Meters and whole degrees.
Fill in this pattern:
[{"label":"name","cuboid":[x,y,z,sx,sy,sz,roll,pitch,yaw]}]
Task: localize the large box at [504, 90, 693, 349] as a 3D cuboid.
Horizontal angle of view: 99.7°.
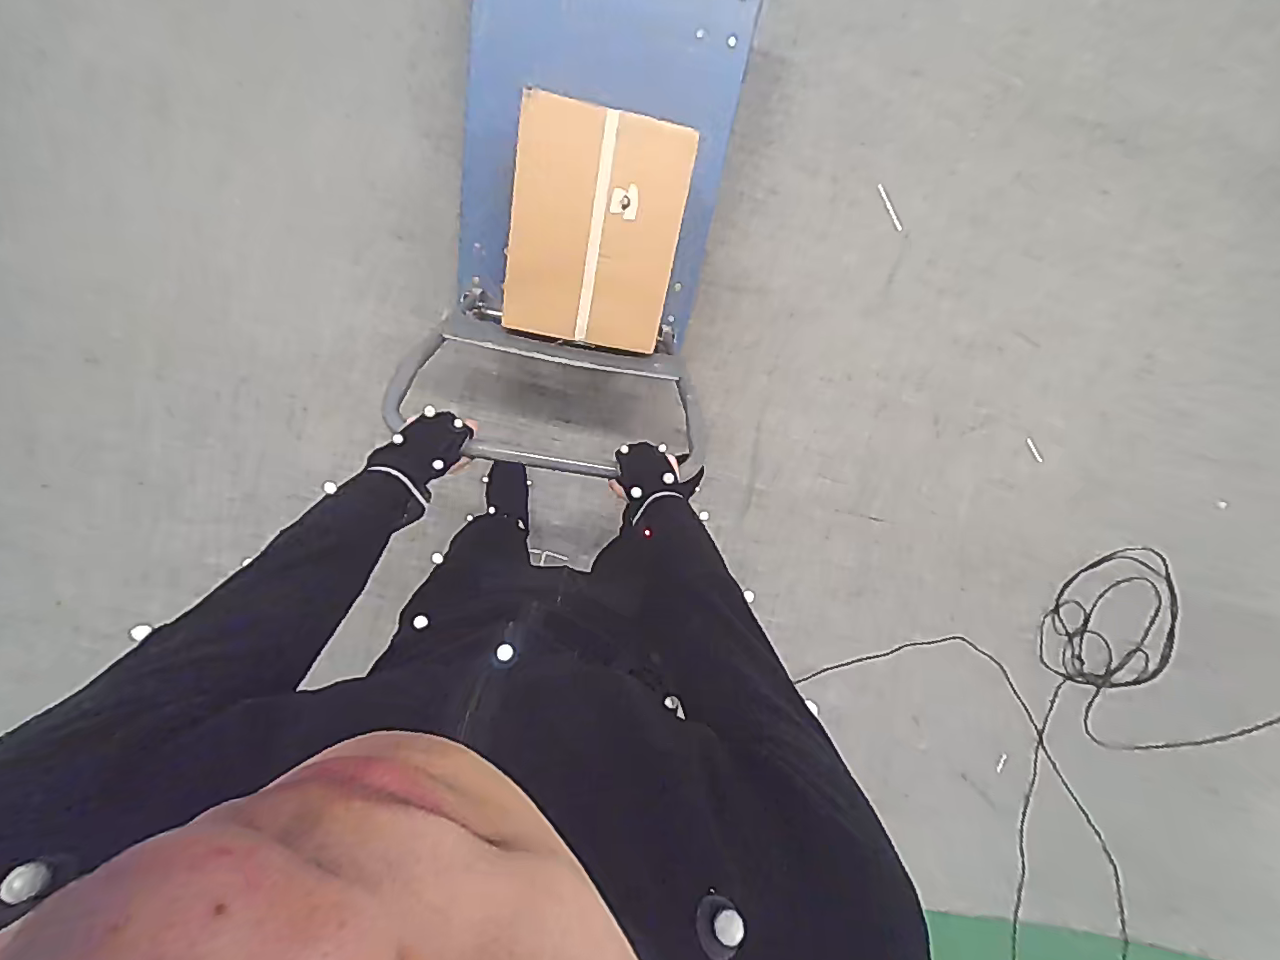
[{"label":"large box","cuboid":[-0.097,-0.529,1.152,0.320,0.320,0.408,8,115,-9]}]
